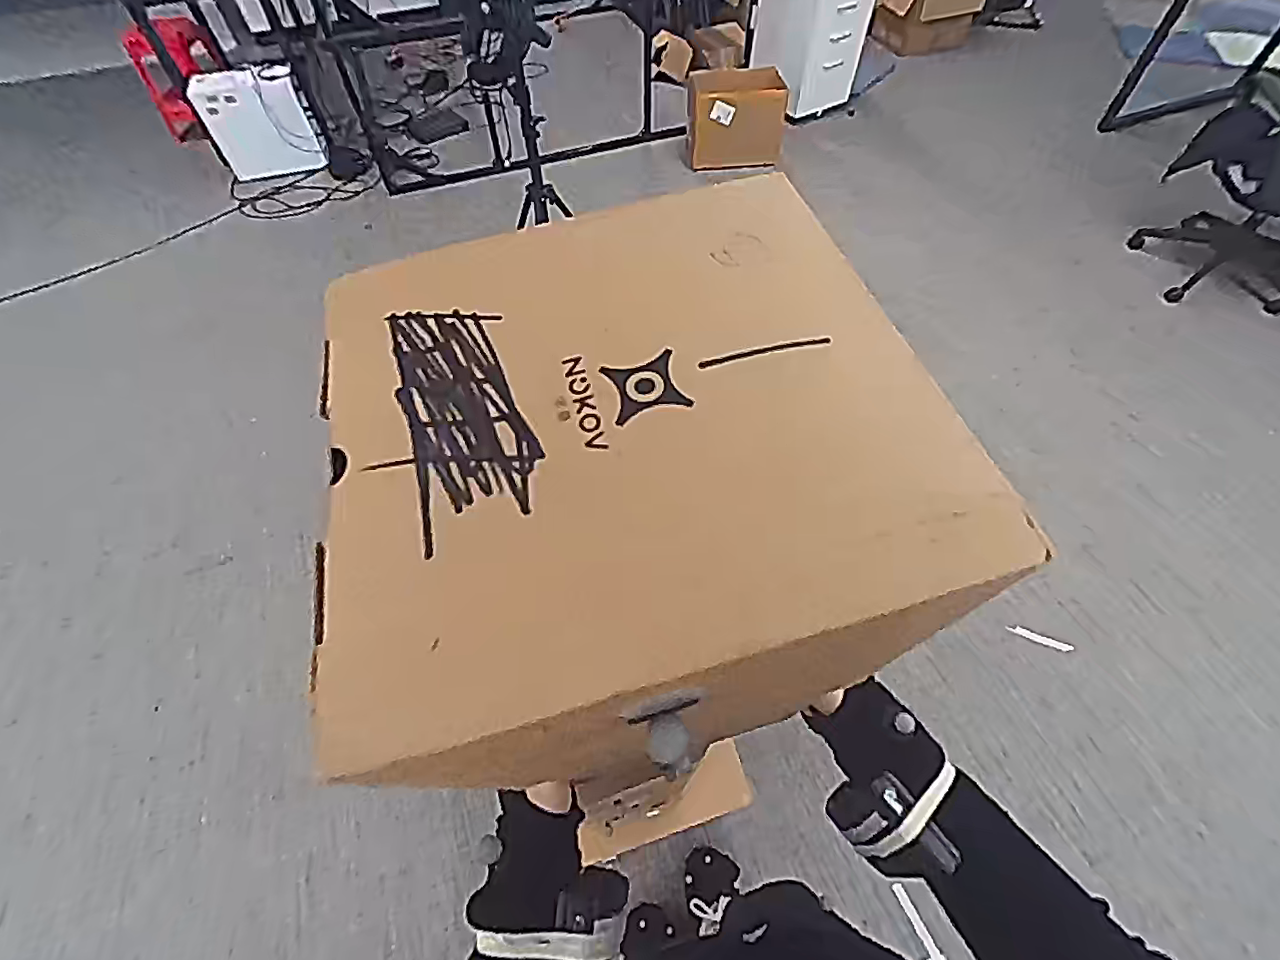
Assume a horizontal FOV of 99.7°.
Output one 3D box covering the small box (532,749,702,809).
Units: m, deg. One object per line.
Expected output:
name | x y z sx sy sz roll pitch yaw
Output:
small box | -0.035 0.225 0.570 0.168 0.176 0.179 -16 55 -11

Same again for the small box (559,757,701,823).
small box | -0.031 0.320 0.701 0.168 0.176 0.179 -17 57 -10

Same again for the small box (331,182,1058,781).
small box | 0.003 0.016 0.229 0.179 0.176 0.168 -15 61 -5
